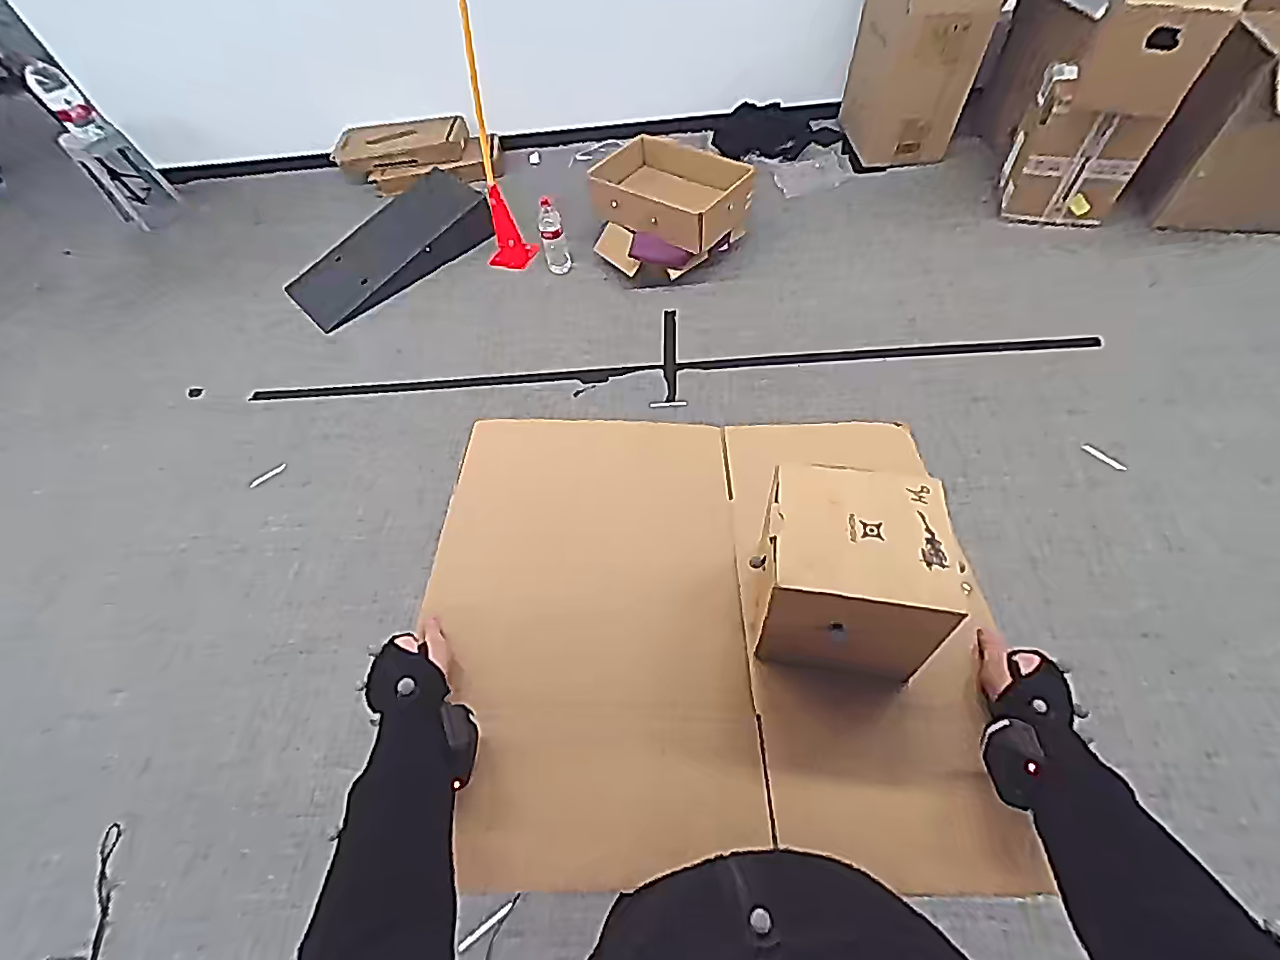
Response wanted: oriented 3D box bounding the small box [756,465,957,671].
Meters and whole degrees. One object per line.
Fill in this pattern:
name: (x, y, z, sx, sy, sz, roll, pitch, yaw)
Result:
small box: (0.230, 0.103, 0.623, 0.179, 0.176, 0.168, 6, 51, 10)
